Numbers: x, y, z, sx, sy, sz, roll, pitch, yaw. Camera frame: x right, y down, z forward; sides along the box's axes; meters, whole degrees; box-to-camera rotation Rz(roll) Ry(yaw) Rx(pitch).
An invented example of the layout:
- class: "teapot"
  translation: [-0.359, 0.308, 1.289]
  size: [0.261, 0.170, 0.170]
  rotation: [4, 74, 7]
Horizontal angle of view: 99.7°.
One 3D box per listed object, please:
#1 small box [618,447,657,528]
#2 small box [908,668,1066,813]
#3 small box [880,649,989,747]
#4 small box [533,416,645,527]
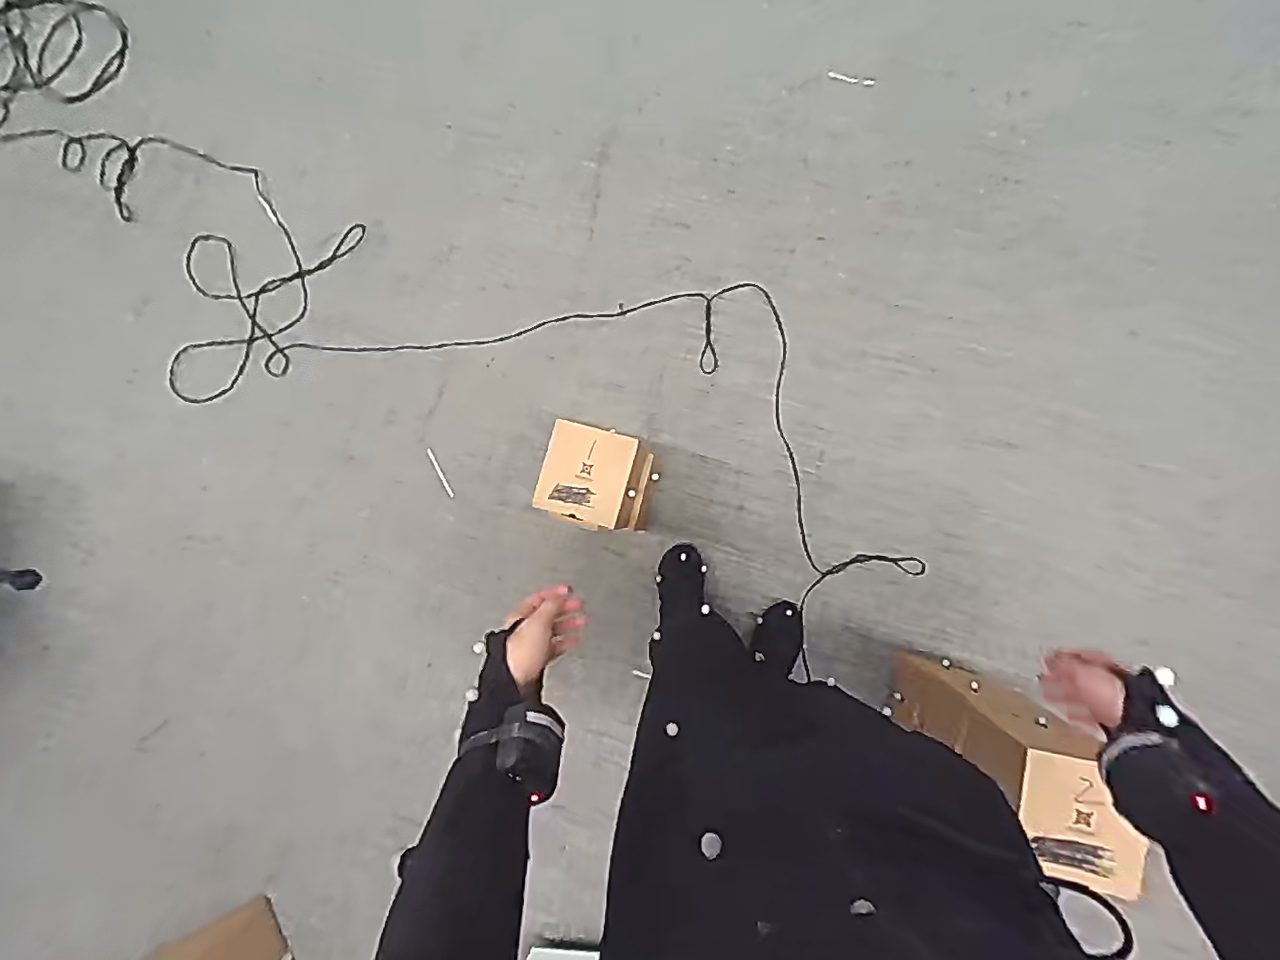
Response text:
- class: "small box"
  translation: [-0.061, 0.003, 1.248]
  size: [0.168, 0.176, 0.179]
  rotation: [15, 89, 7]
- class: "small box"
  translation: [0.624, 0.465, 0.997]
  size: [0.179, 0.176, 0.168]
  rotation: [13, 91, 5]
- class: "small box"
  translation: [0.640, 0.479, 1.158]
  size: [0.179, 0.176, 0.168]
  rotation: [16, 90, 7]
- class: "small box"
  translation: [-0.094, -0.013, 1.088]
  size: [0.168, 0.176, 0.179]
  rotation: [16, 88, 7]
